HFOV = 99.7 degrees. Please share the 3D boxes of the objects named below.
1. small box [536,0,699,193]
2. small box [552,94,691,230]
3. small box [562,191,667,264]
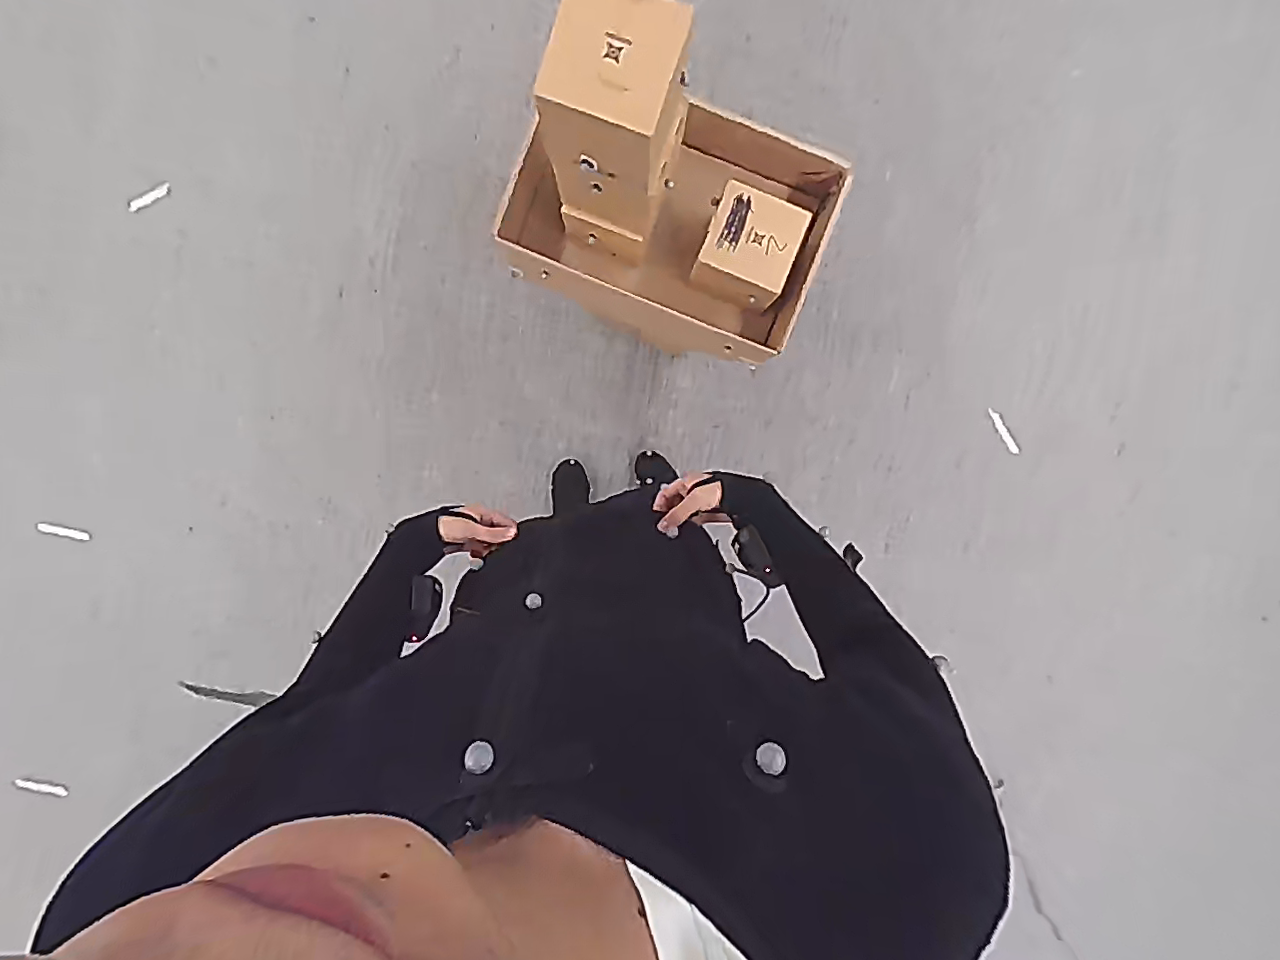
[{"bbox_3d":[-0.032,-0.550,0.760,0.168,0.176,0.179,19,92,-2],"label":"small box"},{"bbox_3d":[-0.032,-0.559,0.924,0.179,0.176,0.168,21,93,-4],"label":"small box"},{"bbox_3d":[-0.043,-0.564,1.088,0.168,0.176,0.179,20,92,-3],"label":"small box"}]
